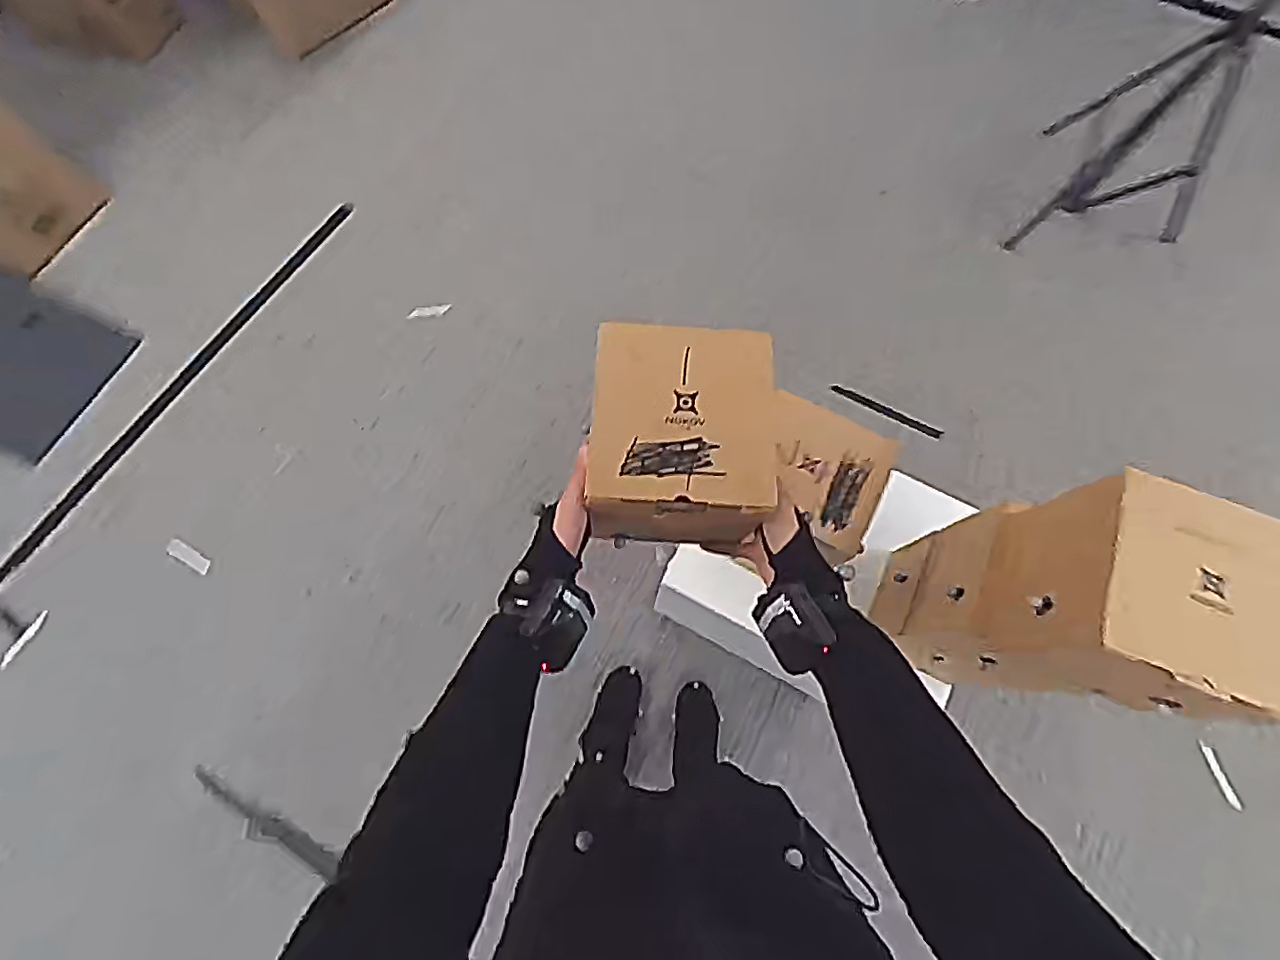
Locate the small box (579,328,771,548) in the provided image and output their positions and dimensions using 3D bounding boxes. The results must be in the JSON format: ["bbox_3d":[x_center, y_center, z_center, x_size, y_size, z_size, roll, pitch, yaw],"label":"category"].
[{"bbox_3d":[0.031,-0.031,0.554,0.168,0.176,0.179,3,72,-3],"label":"small box"}]

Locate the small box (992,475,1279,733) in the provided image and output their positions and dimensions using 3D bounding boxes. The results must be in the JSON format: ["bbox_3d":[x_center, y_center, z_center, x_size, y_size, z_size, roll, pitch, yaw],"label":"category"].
[{"bbox_3d":[0.488,0.125,0.535,0.168,0.176,0.179,22,73,7],"label":"small box"}]

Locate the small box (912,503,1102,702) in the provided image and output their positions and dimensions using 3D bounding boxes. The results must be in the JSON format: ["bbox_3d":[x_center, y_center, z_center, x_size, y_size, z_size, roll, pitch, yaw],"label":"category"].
[{"bbox_3d":[0.481,0.160,0.695,0.168,0.176,0.179,27,73,9],"label":"small box"}]

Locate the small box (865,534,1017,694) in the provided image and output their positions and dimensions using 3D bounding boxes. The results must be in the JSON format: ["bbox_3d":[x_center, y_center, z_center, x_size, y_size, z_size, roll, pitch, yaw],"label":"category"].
[{"bbox_3d":[0.481,0.213,0.851,0.168,0.176,0.179,26,73,9],"label":"small box"}]

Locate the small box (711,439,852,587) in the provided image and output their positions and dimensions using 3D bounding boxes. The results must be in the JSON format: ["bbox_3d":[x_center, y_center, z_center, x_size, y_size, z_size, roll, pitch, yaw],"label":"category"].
[{"bbox_3d":[0.219,0.060,0.903,0.168,0.176,0.179,29,73,8],"label":"small box"}]
